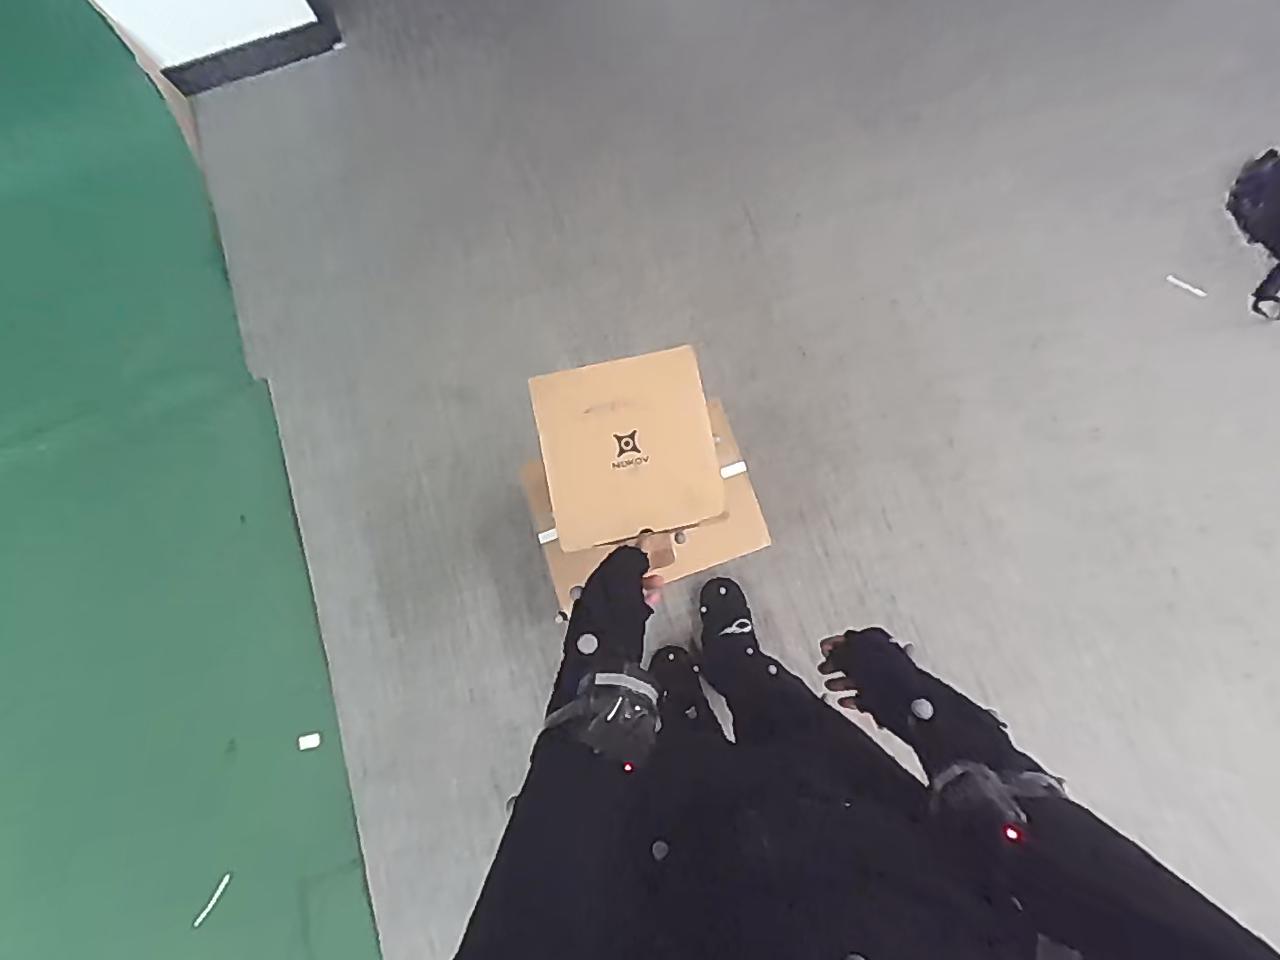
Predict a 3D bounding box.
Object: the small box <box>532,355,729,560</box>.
[{"bbox_3d":[-0.009,-0.016,0.603,0.168,0.176,0.179,-13,83,-2],"label":"small box"}]
